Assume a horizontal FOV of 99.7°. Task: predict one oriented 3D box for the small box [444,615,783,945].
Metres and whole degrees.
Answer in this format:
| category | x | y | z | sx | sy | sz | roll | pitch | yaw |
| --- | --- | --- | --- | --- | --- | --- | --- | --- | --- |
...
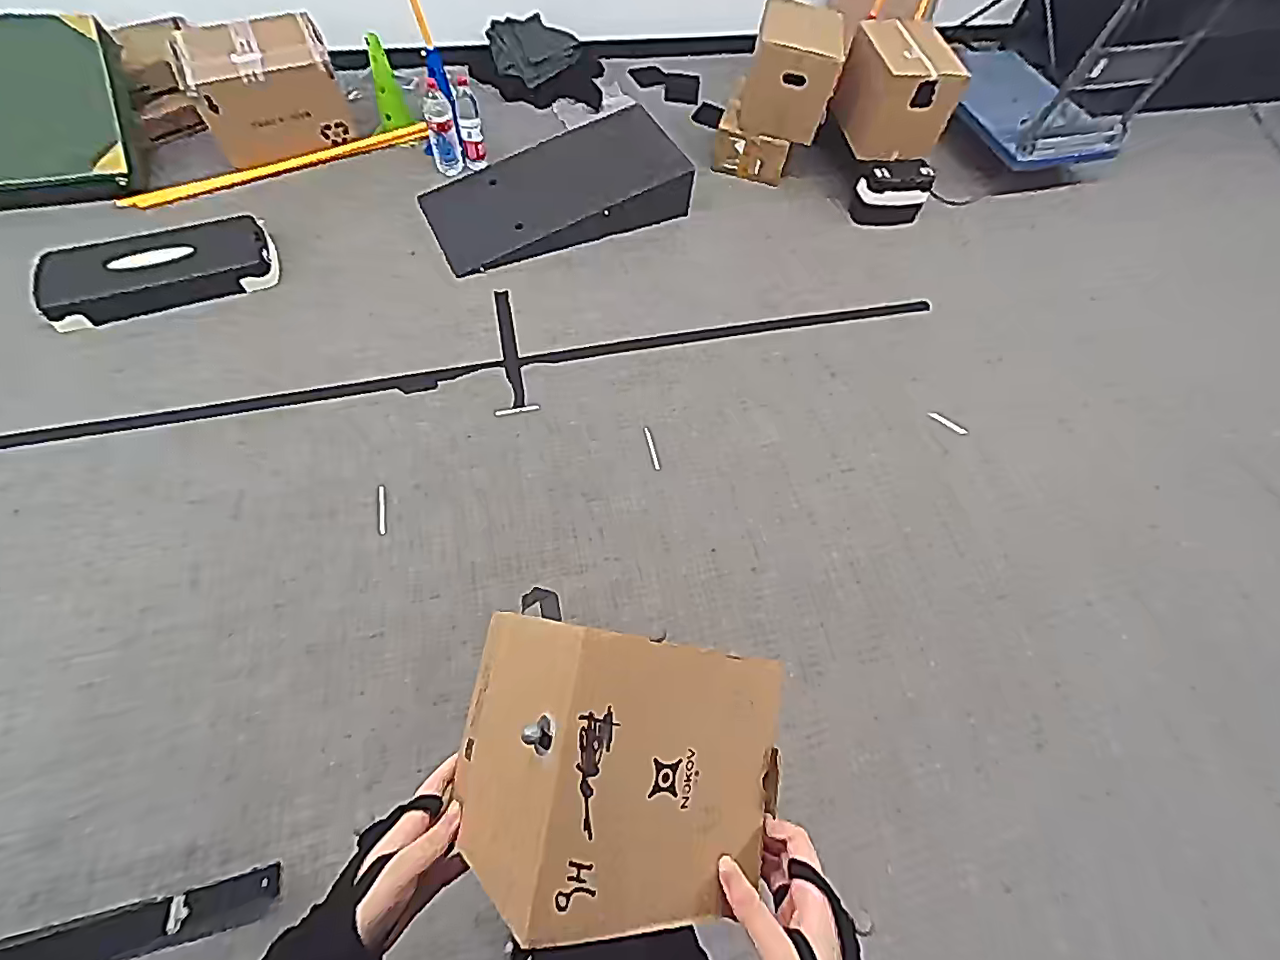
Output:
| category | x | y | z | sx | sy | sz | roll | pitch | yaw |
| --- | --- | --- | --- | --- | --- | --- | --- | --- | --- |
| small box | -0.022 | 0.199 | 0.407 | 0.179 | 0.176 | 0.168 | 21 | 70 | -30 |
